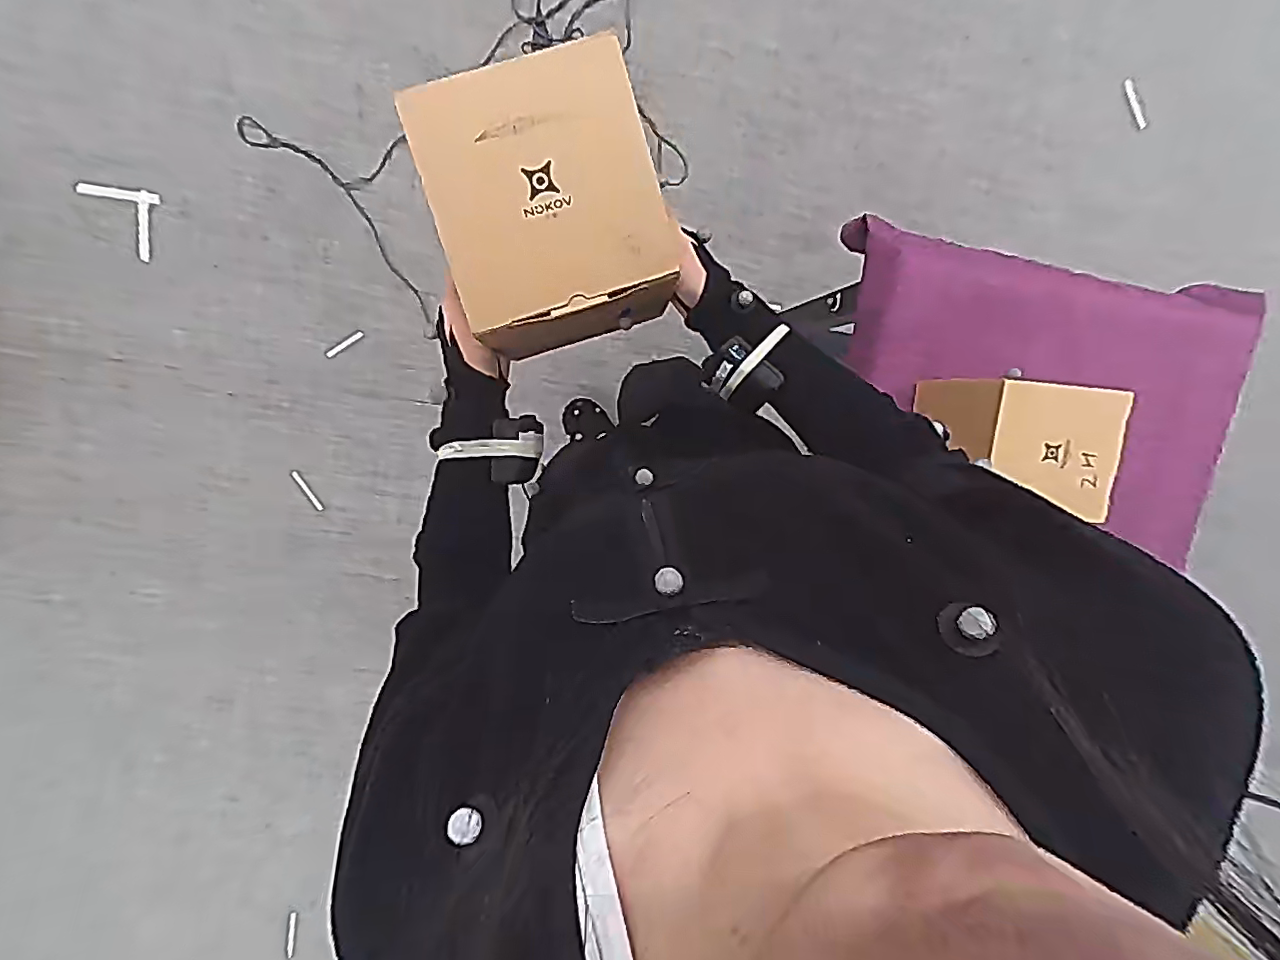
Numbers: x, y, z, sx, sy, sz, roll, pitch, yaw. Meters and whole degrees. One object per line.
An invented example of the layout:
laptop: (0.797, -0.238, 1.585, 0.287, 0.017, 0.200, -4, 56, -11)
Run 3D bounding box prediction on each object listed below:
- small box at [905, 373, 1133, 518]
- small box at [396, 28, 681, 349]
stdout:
small box: (0.493, -0.051, 0.731, 0.179, 0.176, 0.168, 4, 100, -8)
small box: (-0.073, -0.221, 0.467, 0.168, 0.176, 0.179, -18, 96, -2)
